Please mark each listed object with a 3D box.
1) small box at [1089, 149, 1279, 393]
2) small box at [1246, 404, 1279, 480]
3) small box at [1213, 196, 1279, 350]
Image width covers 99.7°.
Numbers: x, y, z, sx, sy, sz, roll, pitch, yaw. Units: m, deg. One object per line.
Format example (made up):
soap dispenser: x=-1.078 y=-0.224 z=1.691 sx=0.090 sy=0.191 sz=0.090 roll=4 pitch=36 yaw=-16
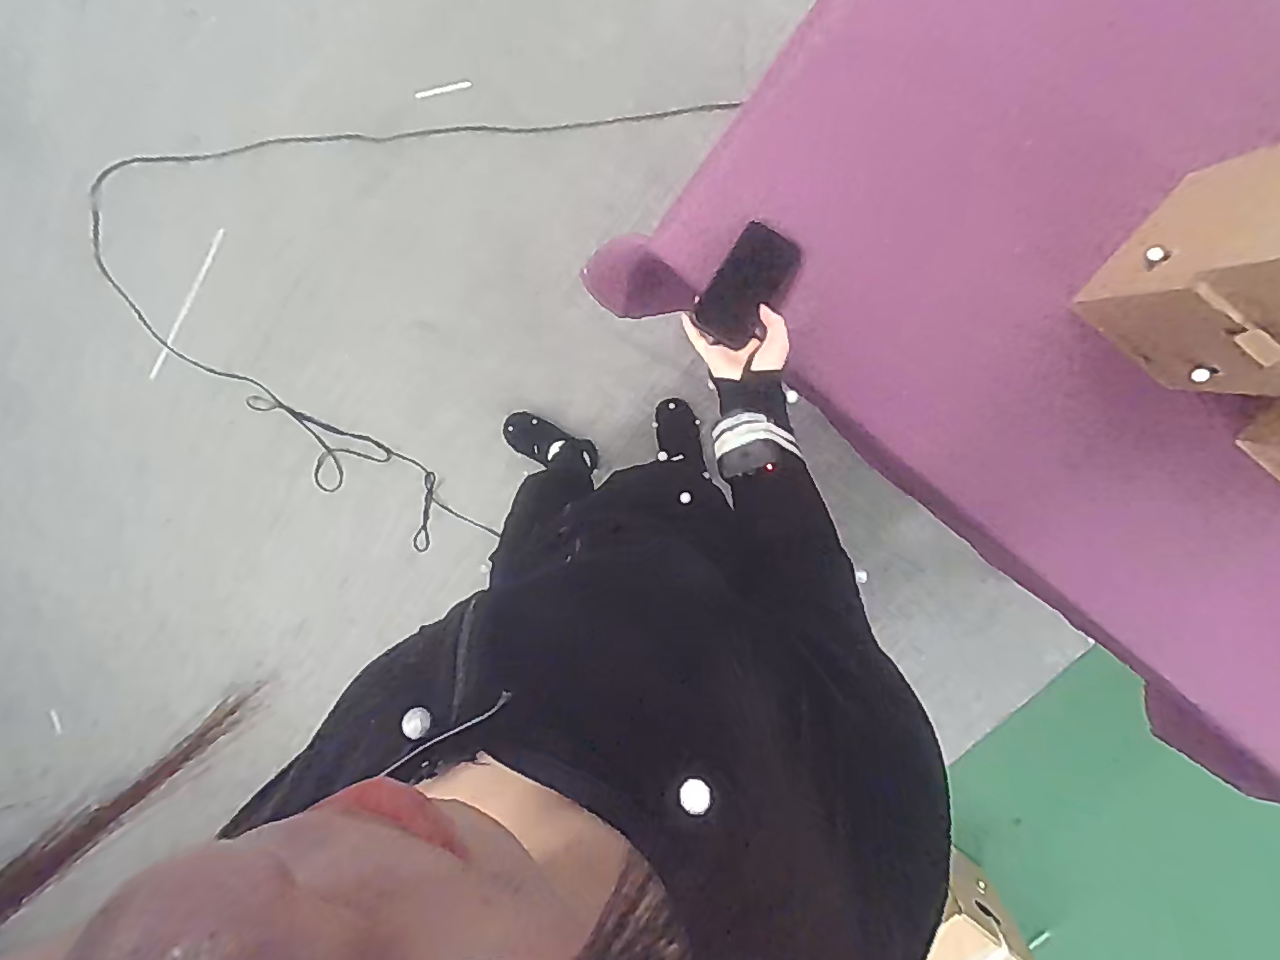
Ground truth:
small box: x=0.610 y=-0.200 z=0.541 sx=0.168 sy=0.176 sz=0.179 roll=38 pitch=103 yaw=-5
small box: x=0.824 y=-0.043 z=0.557 sx=0.168 sy=0.176 sz=0.179 roll=38 pitch=104 yaw=-4
small box: x=0.594 y=-0.176 z=0.378 sx=0.168 sy=0.176 sz=0.179 roll=37 pitch=104 yaw=-4
